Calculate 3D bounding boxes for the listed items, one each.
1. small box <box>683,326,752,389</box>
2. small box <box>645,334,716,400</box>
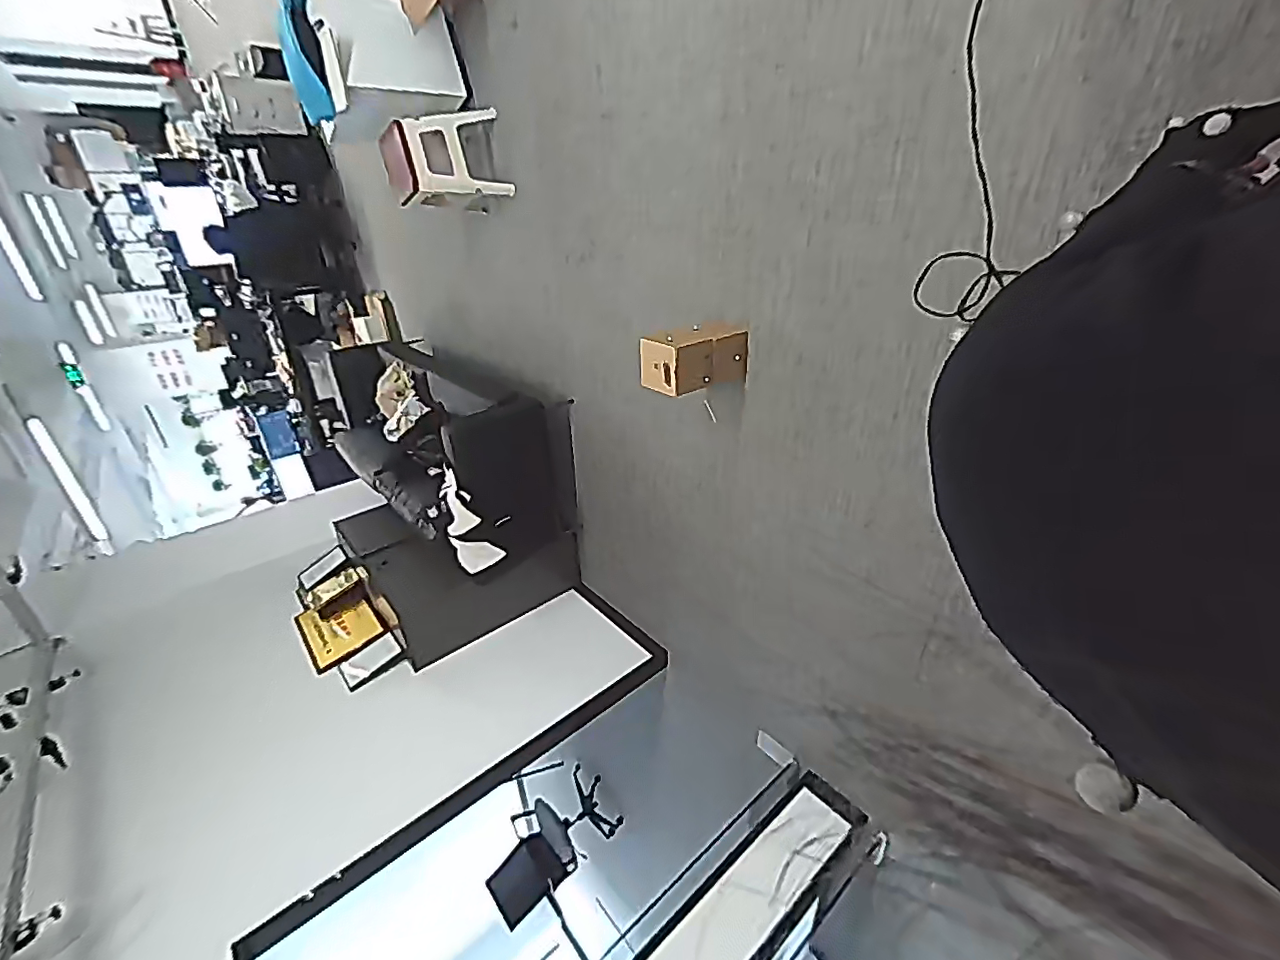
[{"bbox_3d":[0.267,-0.436,1.902,0.179,0.176,0.168,29,131,42],"label":"small box"},{"bbox_3d":[0.137,-0.386,1.814,0.179,0.176,0.168,28,131,43],"label":"small box"}]
